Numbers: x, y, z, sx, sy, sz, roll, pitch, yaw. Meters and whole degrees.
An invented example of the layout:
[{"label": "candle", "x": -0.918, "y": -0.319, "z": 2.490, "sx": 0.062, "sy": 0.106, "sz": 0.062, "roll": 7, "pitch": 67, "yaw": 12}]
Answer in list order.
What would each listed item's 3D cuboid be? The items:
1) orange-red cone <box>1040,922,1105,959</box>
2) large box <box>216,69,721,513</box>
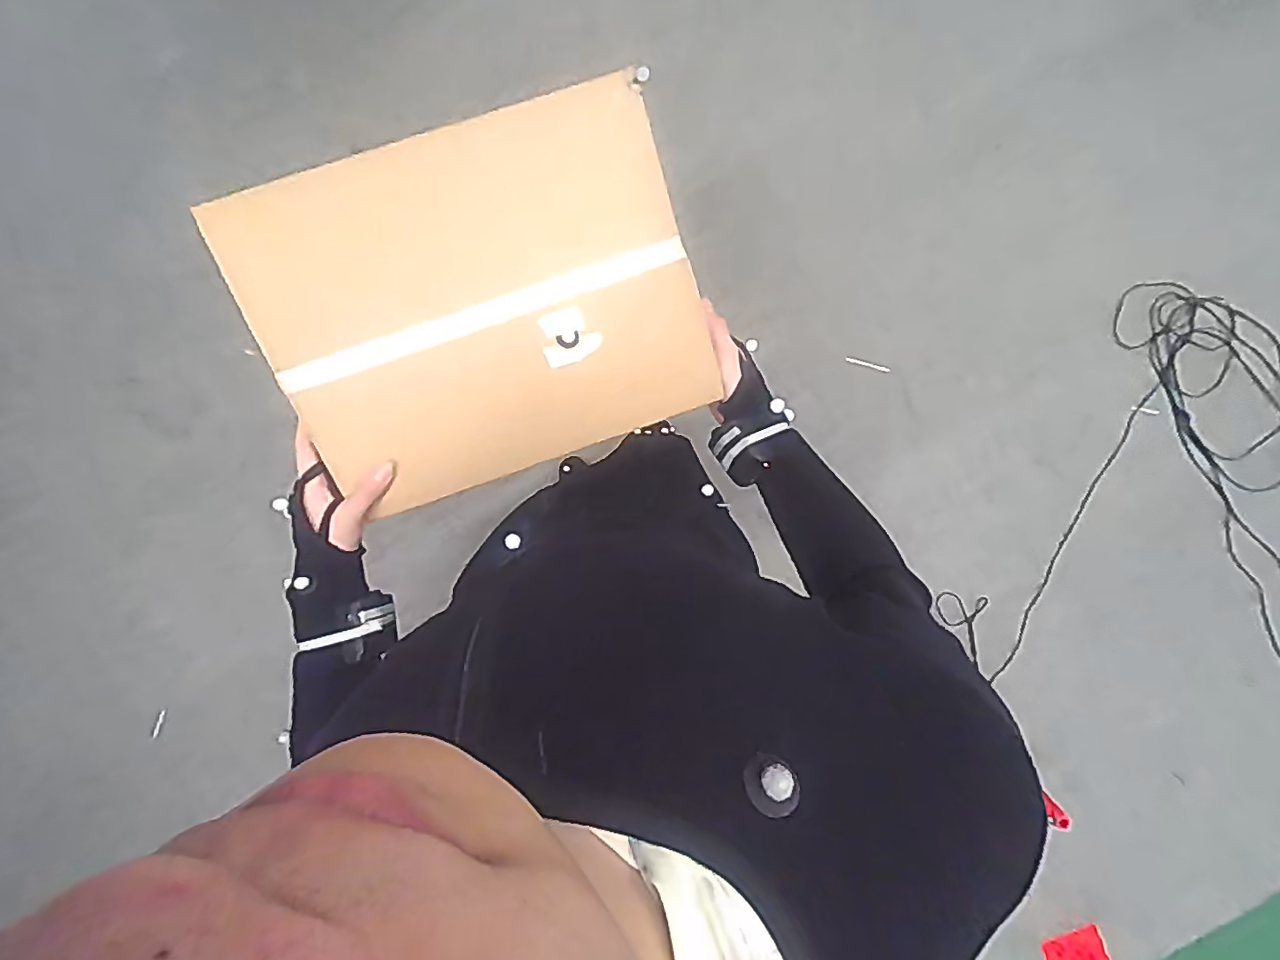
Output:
[{"label": "orange-red cone", "x": 1.444, "y": 1.585, "z": 1.618, "sx": 0.199, "sy": 0.360, "sz": 0.198, "roll": -21, "pitch": 95, "yaw": -2}, {"label": "large box", "x": -0.167, "y": -0.207, "z": 0.669, "sx": 0.408, "sy": 0.320, "sz": 0.320, "roll": -20, "pitch": 108, "yaw": -3}]
